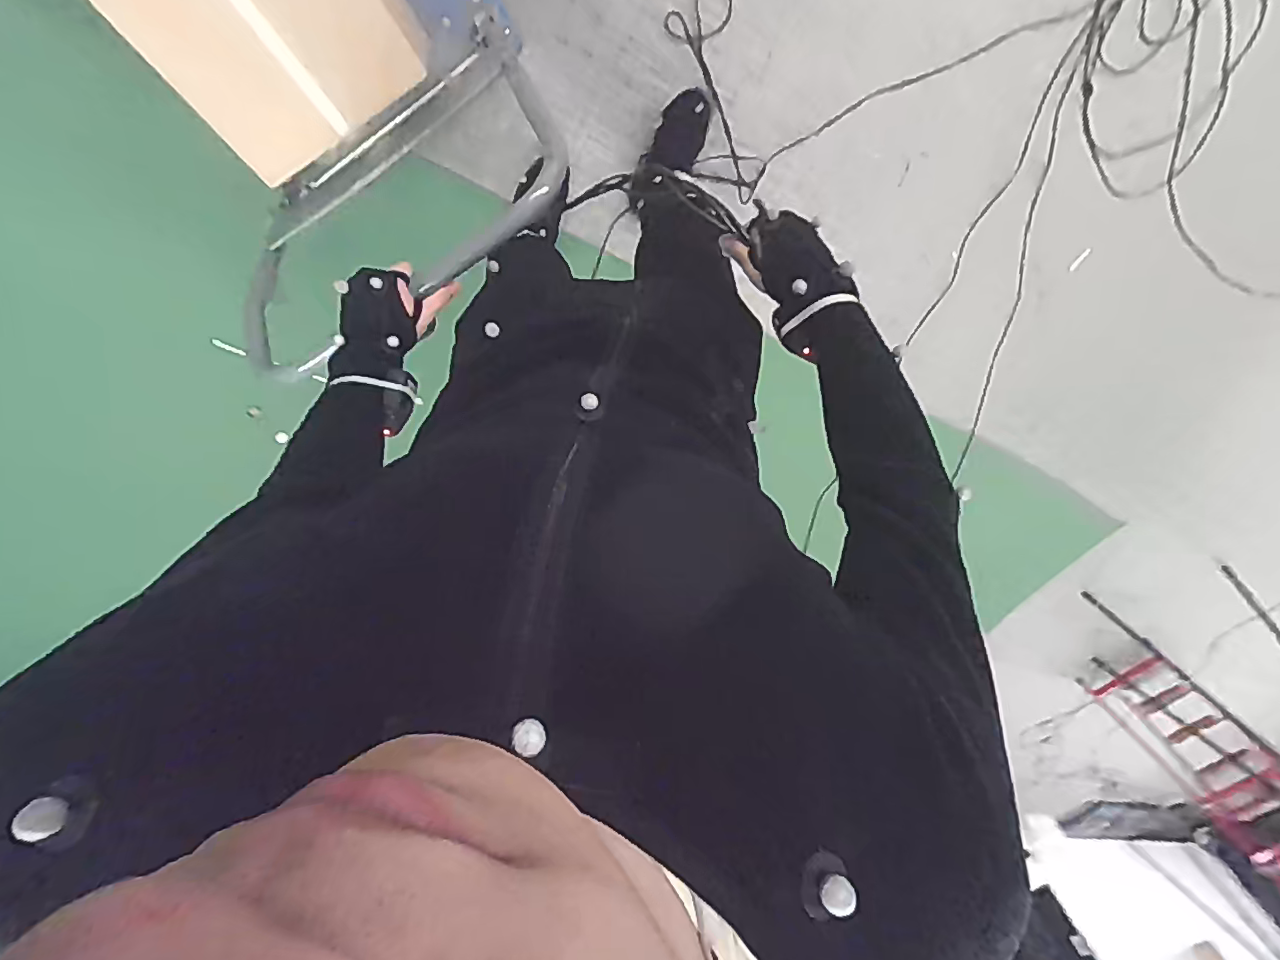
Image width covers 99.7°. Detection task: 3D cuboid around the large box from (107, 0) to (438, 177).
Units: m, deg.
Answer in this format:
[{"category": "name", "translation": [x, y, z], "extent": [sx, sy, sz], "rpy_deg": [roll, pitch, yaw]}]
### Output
[{"category": "large box", "translation": [-0.561, -0.760, 0.799], "extent": [0.320, 0.320, 0.408], "rpy_deg": [-28, 136, 9]}]
